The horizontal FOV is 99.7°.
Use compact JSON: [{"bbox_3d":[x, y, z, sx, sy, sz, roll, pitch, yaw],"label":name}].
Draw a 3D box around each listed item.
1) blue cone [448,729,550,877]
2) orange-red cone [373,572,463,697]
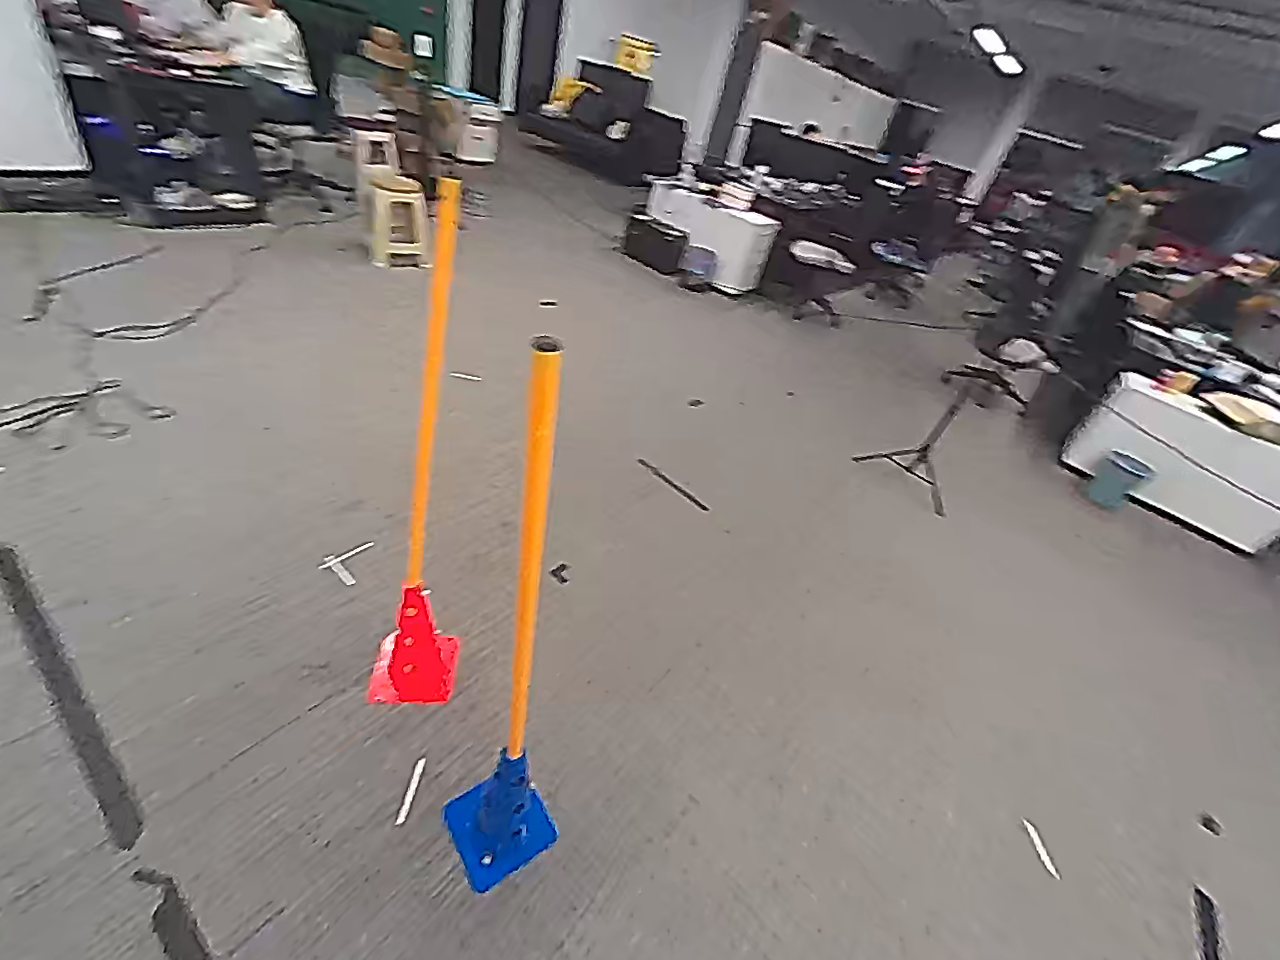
[{"bbox_3d":[-0.277,0.632,1.117,0.193,0.380,0.192,-14,46,-34],"label":"blue cone"},{"bbox_3d":[-0.547,0.357,1.336,0.198,0.360,0.199,7,40,-11],"label":"orange-red cone"}]
